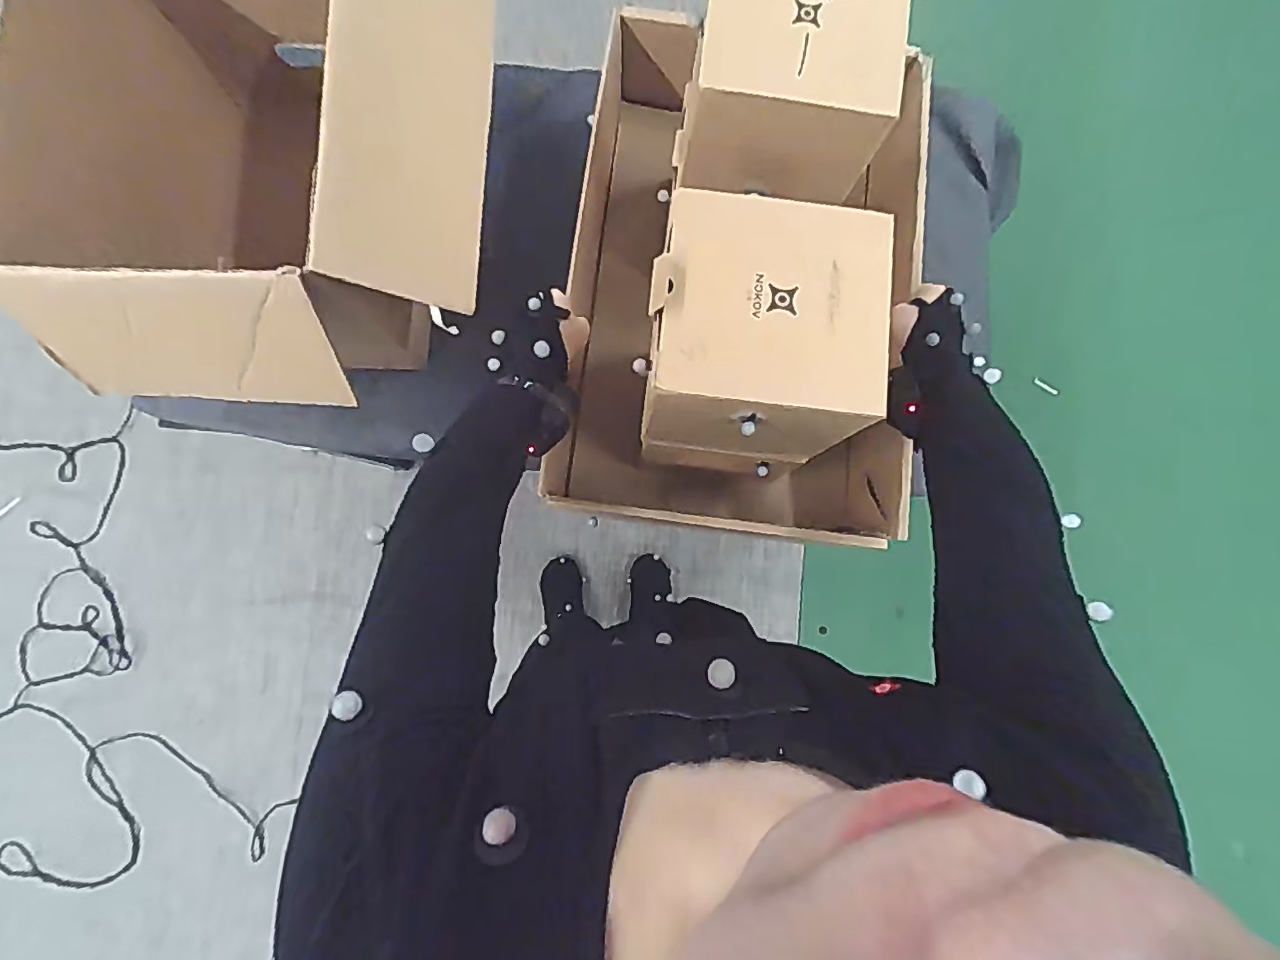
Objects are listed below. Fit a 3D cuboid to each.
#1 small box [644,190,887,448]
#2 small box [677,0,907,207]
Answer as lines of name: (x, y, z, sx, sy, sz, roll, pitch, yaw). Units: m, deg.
small box: (0.099, -0.129, 0.496, 0.179, 0.176, 0.168, 6, 83, -2)
small box: (0.134, -0.379, 0.526, 0.168, 0.176, 0.179, 8, 85, -2)
